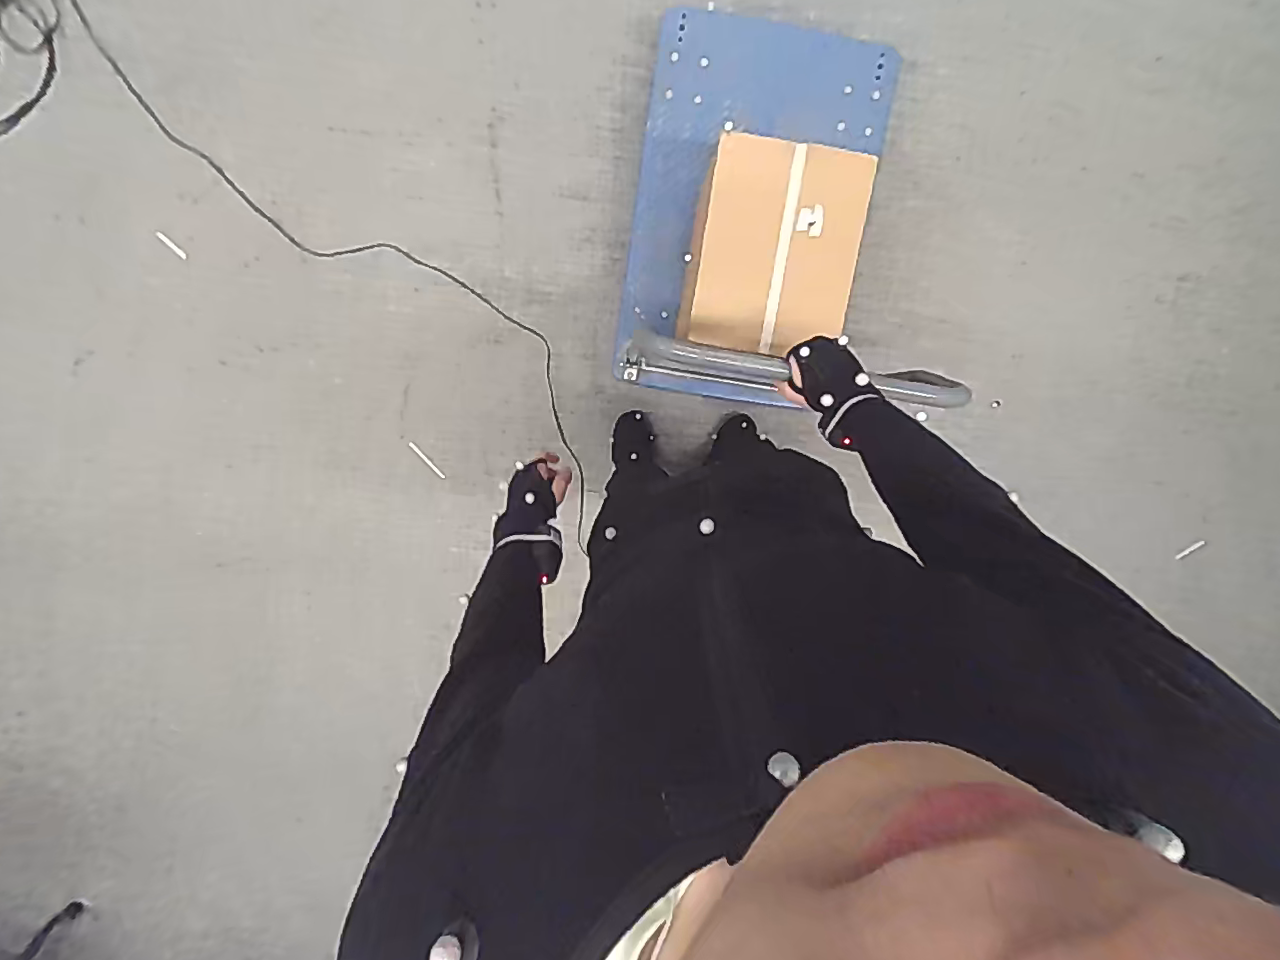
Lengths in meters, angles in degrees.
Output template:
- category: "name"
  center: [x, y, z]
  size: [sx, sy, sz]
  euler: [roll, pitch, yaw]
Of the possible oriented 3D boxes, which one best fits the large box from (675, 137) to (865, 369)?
- category: "large box"
  center: [0.265, -0.478, 1.234]
  size: [0.320, 0.320, 0.408]
  euler: [8, 99, -3]
